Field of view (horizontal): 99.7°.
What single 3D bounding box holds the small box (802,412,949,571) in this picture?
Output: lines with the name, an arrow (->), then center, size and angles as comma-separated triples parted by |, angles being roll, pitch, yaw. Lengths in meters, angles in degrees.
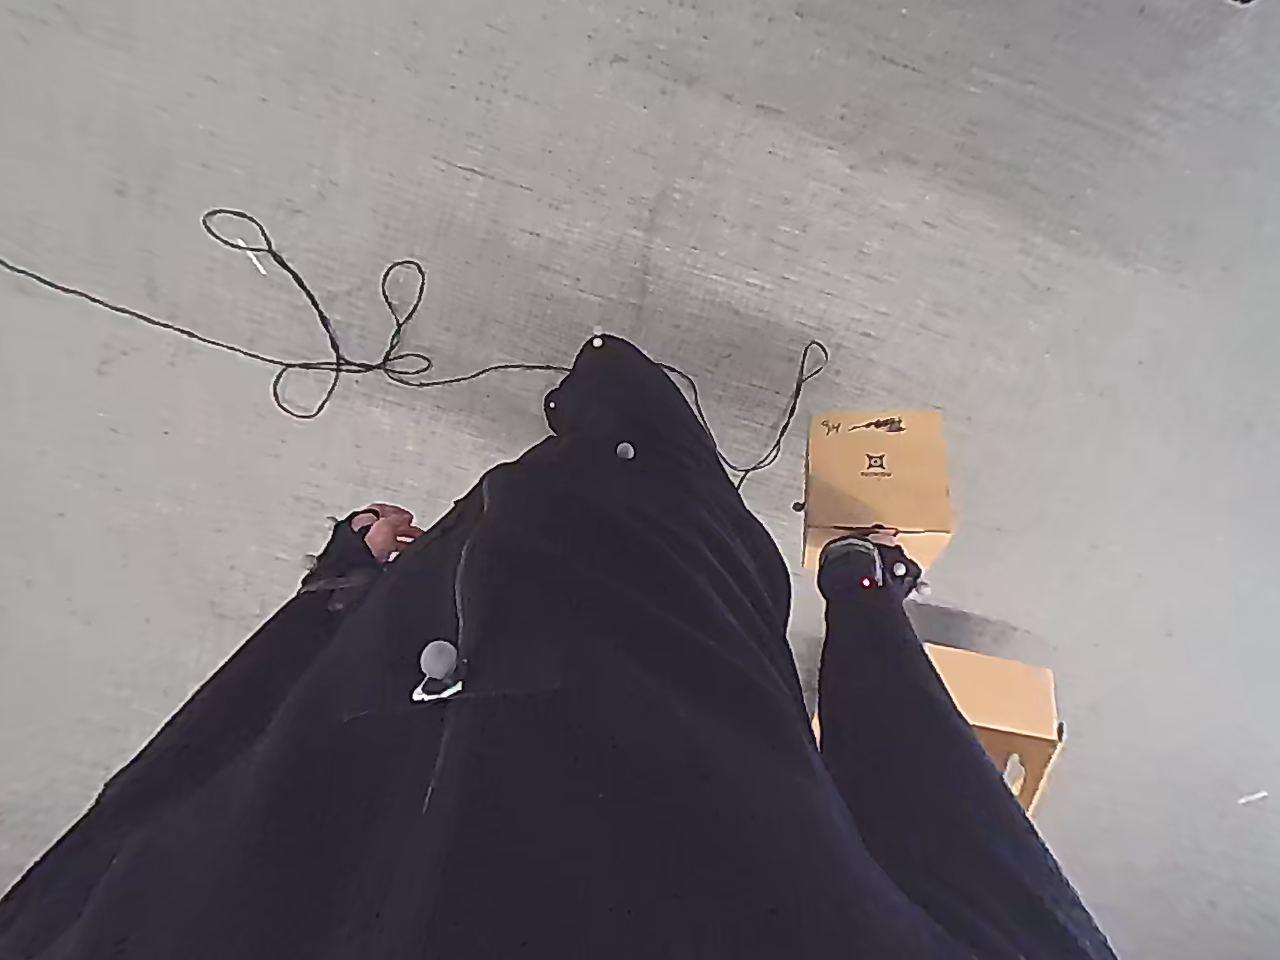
small box -> 0.321, 0.021, 0.767 | 0.168, 0.176, 0.179 | 1, 63, 15
